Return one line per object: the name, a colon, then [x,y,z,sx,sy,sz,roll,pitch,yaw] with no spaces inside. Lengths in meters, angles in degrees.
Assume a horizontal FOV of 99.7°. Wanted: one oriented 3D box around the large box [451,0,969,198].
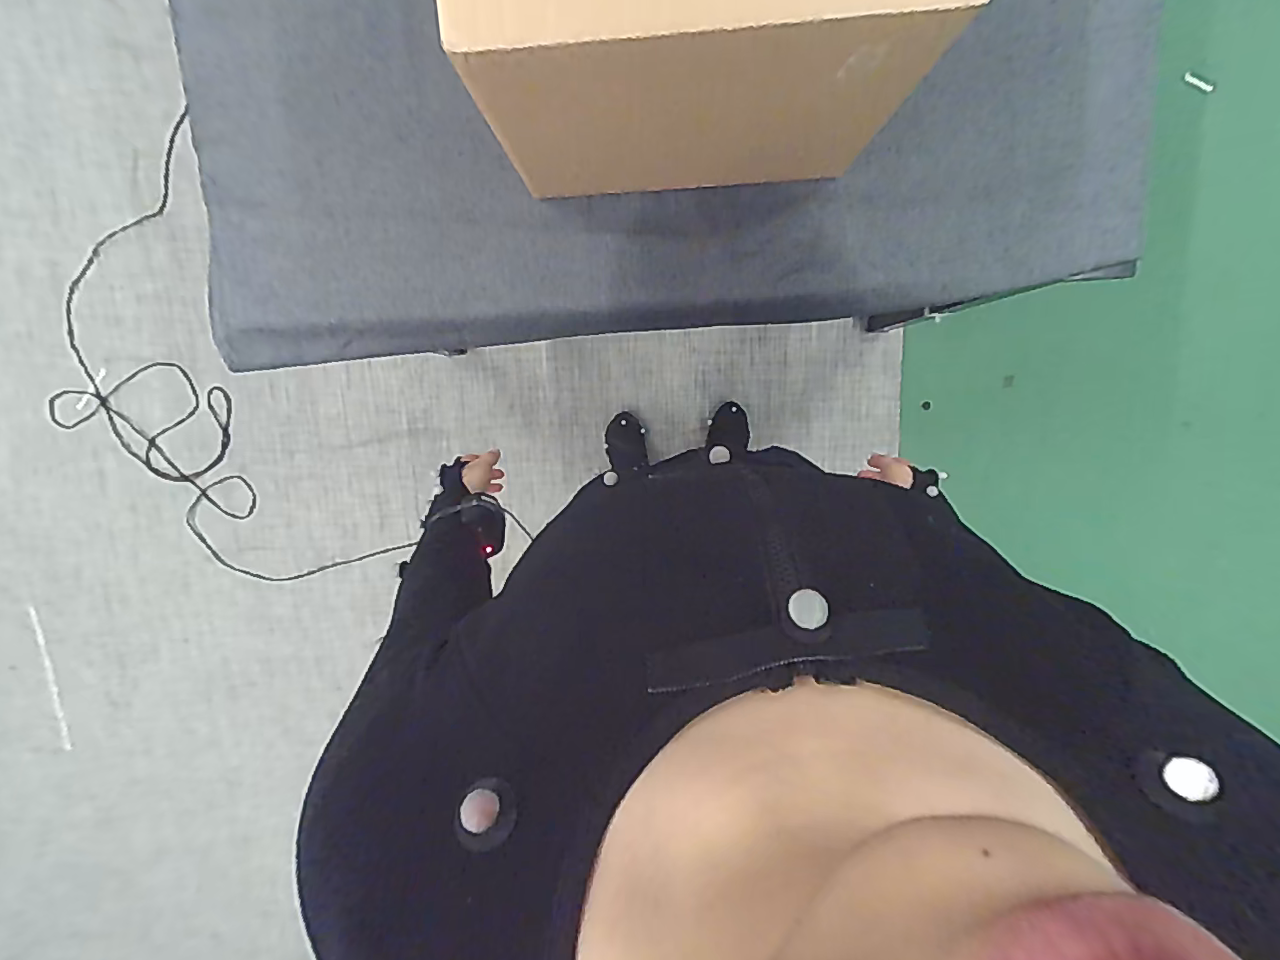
large box: [0.044,-0.513,0.539,0.408,0.320,0.320,-4,99,2]
